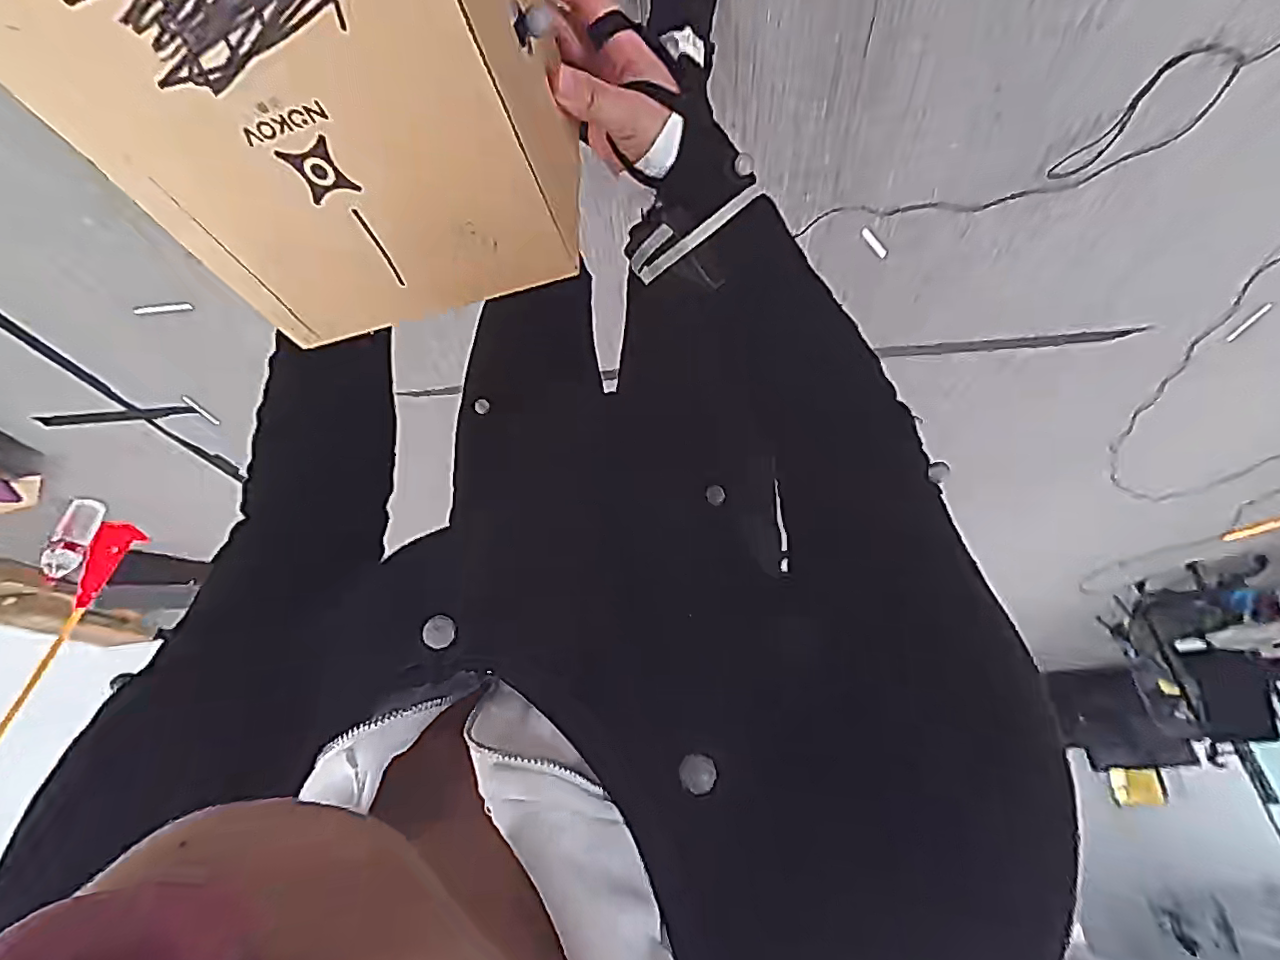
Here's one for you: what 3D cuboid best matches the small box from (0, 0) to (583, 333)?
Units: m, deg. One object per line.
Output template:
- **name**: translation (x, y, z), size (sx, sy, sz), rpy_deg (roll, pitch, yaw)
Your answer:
- **small box**: translation (-0.135, -0.209, 0.265), size (0.168, 0.176, 0.179), rpy_deg (-11, 148, 11)
